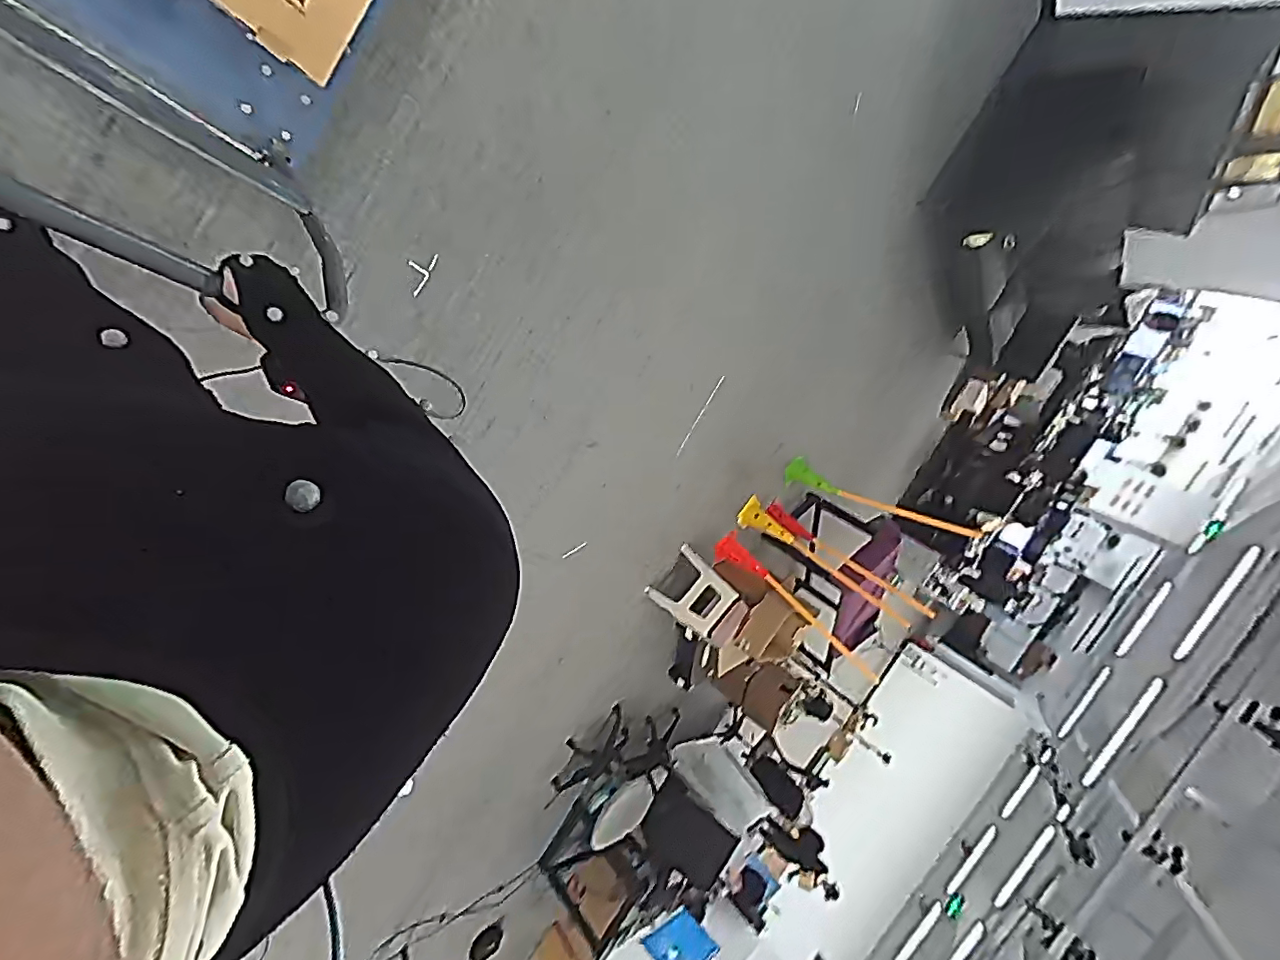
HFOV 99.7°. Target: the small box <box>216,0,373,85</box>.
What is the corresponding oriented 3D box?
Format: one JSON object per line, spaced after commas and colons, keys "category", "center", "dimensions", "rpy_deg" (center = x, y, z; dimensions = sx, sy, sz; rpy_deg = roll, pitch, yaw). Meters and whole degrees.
{"category": "small box", "center": [-0.588, -0.819, 0.904], "dimensions": [0.179, 0.176, 0.168], "rpy_deg": [-51, 145, 12]}
